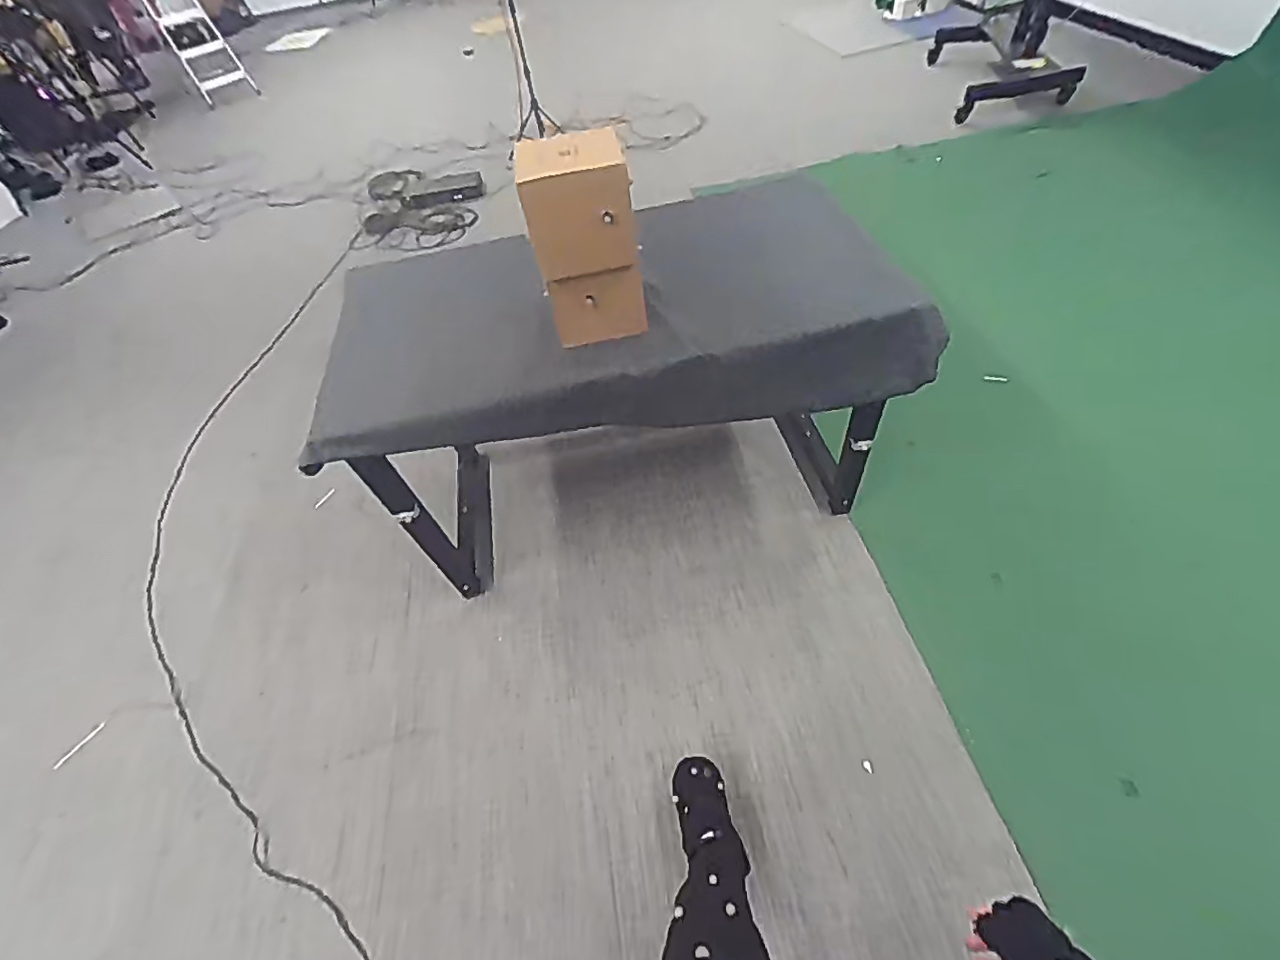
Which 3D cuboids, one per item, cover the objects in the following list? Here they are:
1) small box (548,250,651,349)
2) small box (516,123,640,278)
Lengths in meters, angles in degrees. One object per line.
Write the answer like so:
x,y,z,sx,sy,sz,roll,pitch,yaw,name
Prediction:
-0.085,-0.384,1.082,0.179,0.176,0.168,-13,50,-3,small box
-0.101,-0.473,0.923,0.179,0.176,0.168,-13,51,-3,small box
